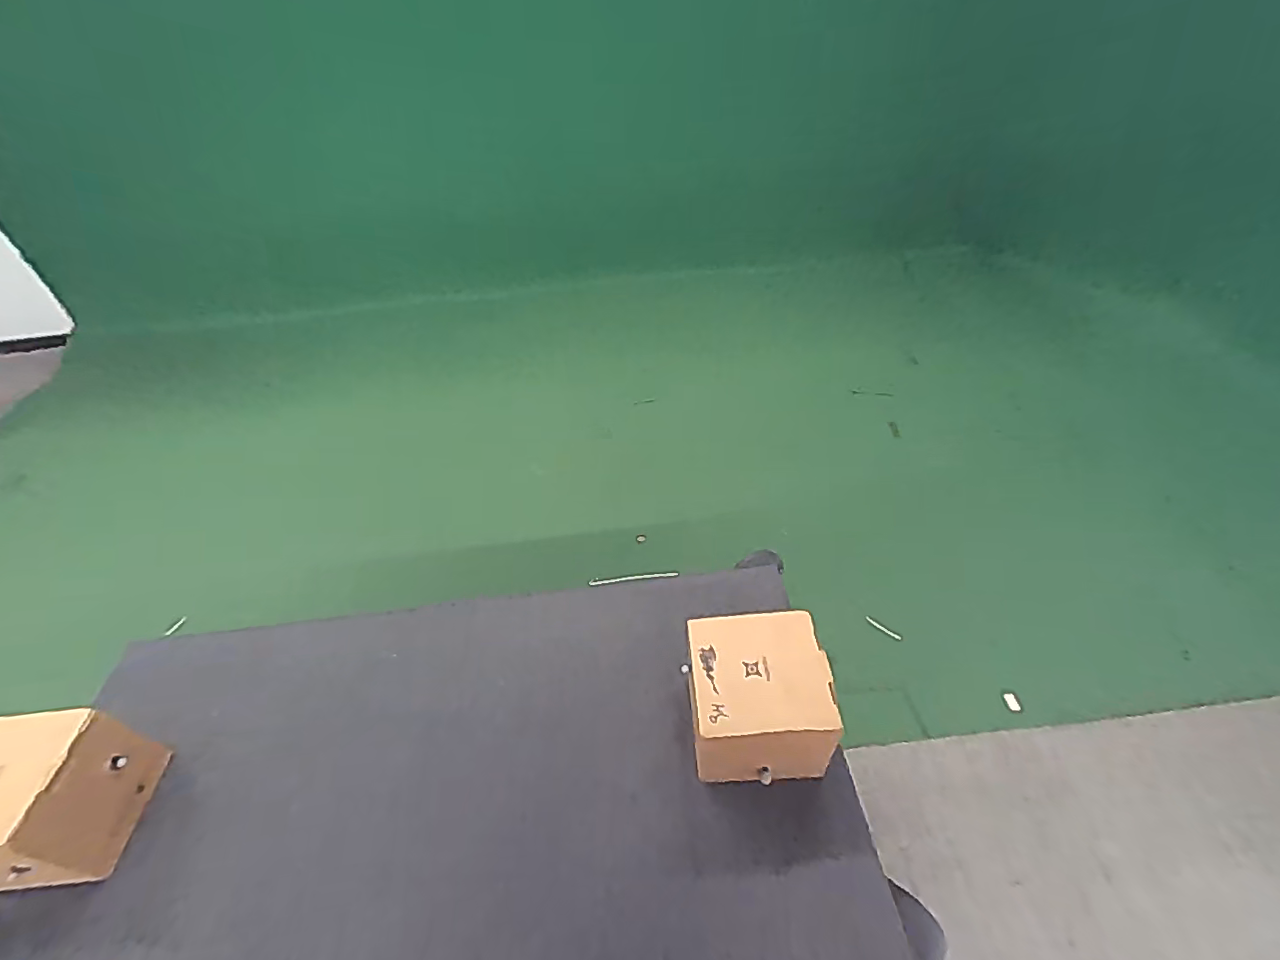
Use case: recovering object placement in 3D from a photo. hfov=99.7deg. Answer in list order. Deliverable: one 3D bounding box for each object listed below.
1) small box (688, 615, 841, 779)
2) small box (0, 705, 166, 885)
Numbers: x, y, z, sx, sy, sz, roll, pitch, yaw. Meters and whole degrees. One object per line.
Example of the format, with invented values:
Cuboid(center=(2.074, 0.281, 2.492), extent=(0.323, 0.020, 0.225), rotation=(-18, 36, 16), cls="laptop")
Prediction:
Cuboid(center=(0.163, 0.311, 0.772), extent=(0.179, 0.176, 0.168), rotation=(-4, 44, 1), cls="small box")
Cuboid(center=(-0.809, 0.423, 0.725), extent=(0.179, 0.176, 0.168), rotation=(-4, 41, 1), cls="small box")
